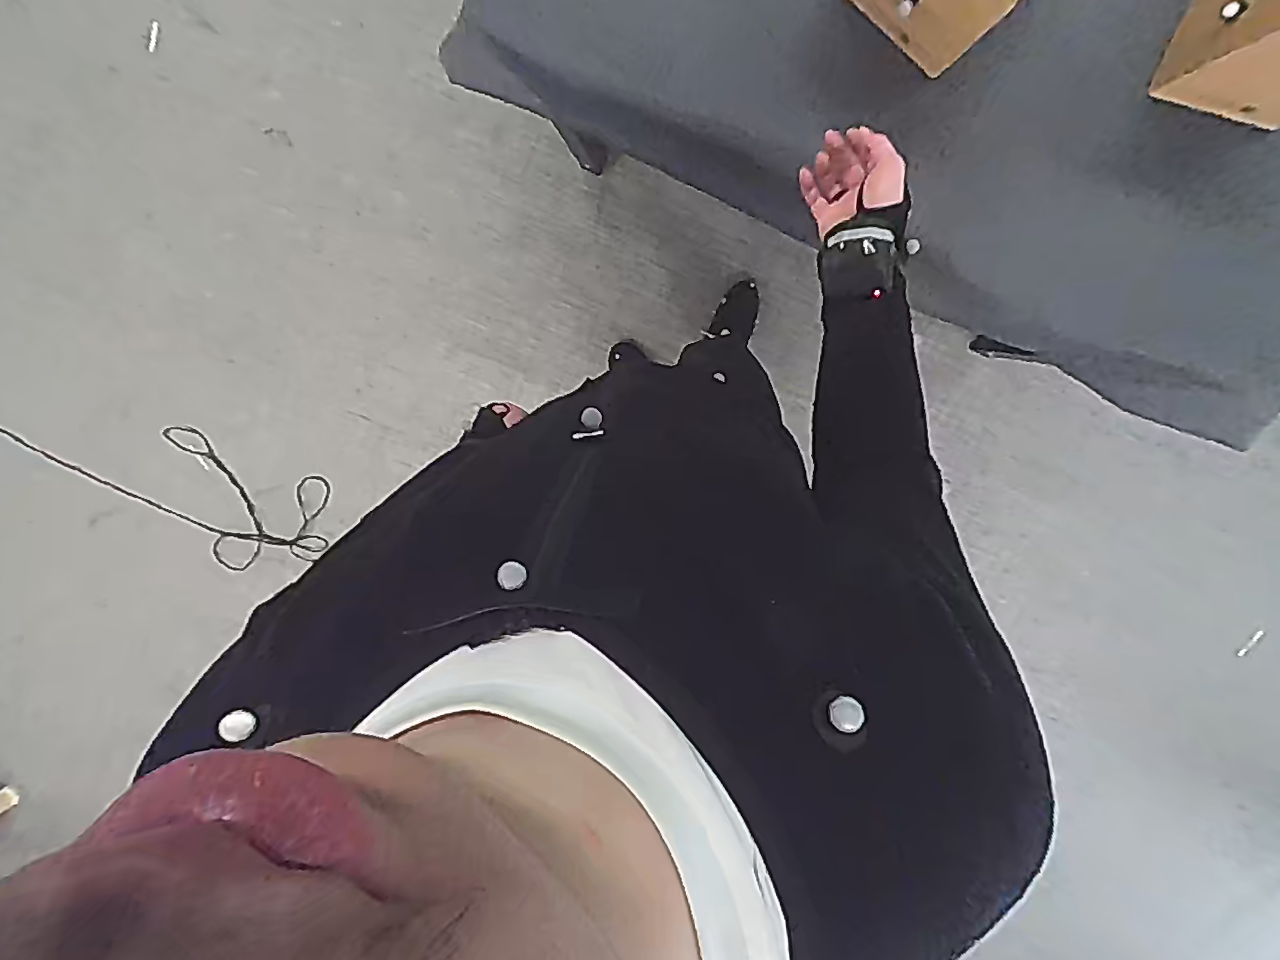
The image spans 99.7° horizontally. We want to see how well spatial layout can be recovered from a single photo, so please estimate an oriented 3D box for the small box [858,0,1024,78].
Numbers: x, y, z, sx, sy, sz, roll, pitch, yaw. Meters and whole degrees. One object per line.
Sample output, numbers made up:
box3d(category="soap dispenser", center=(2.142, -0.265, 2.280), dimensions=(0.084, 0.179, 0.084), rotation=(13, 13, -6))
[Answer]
box3d(category="small box", center=(0.350, -0.578, 0.564), dimensions=(0.168, 0.176, 0.179), rotation=(37, 105, -8))
